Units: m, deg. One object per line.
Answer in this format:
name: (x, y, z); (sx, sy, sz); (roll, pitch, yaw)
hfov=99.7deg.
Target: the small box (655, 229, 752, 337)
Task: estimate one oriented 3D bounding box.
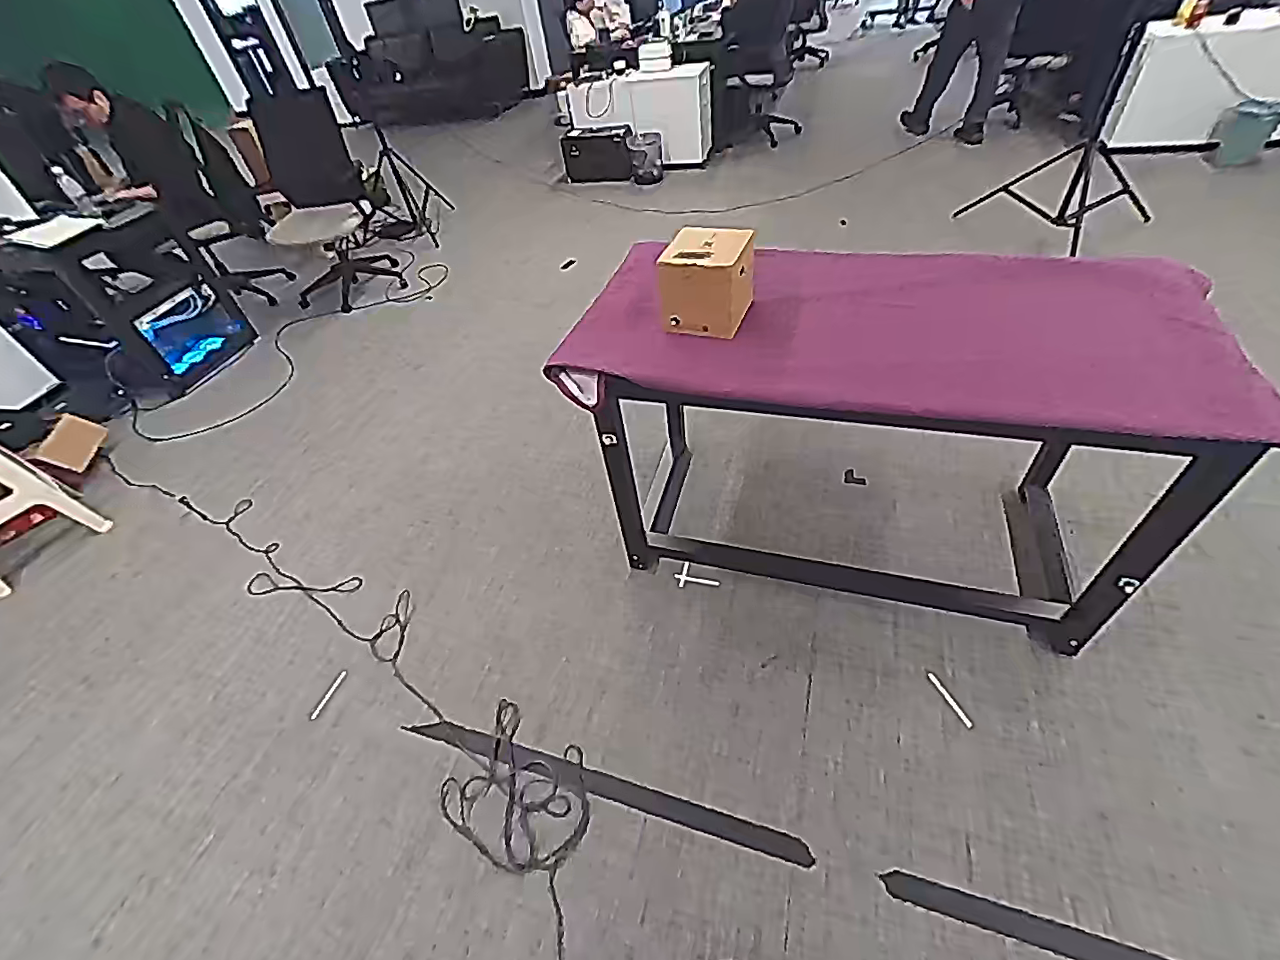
small box: (0.149, -0.441, 1.215); (0.168, 0.176, 0.179); (13, 50, 20)
